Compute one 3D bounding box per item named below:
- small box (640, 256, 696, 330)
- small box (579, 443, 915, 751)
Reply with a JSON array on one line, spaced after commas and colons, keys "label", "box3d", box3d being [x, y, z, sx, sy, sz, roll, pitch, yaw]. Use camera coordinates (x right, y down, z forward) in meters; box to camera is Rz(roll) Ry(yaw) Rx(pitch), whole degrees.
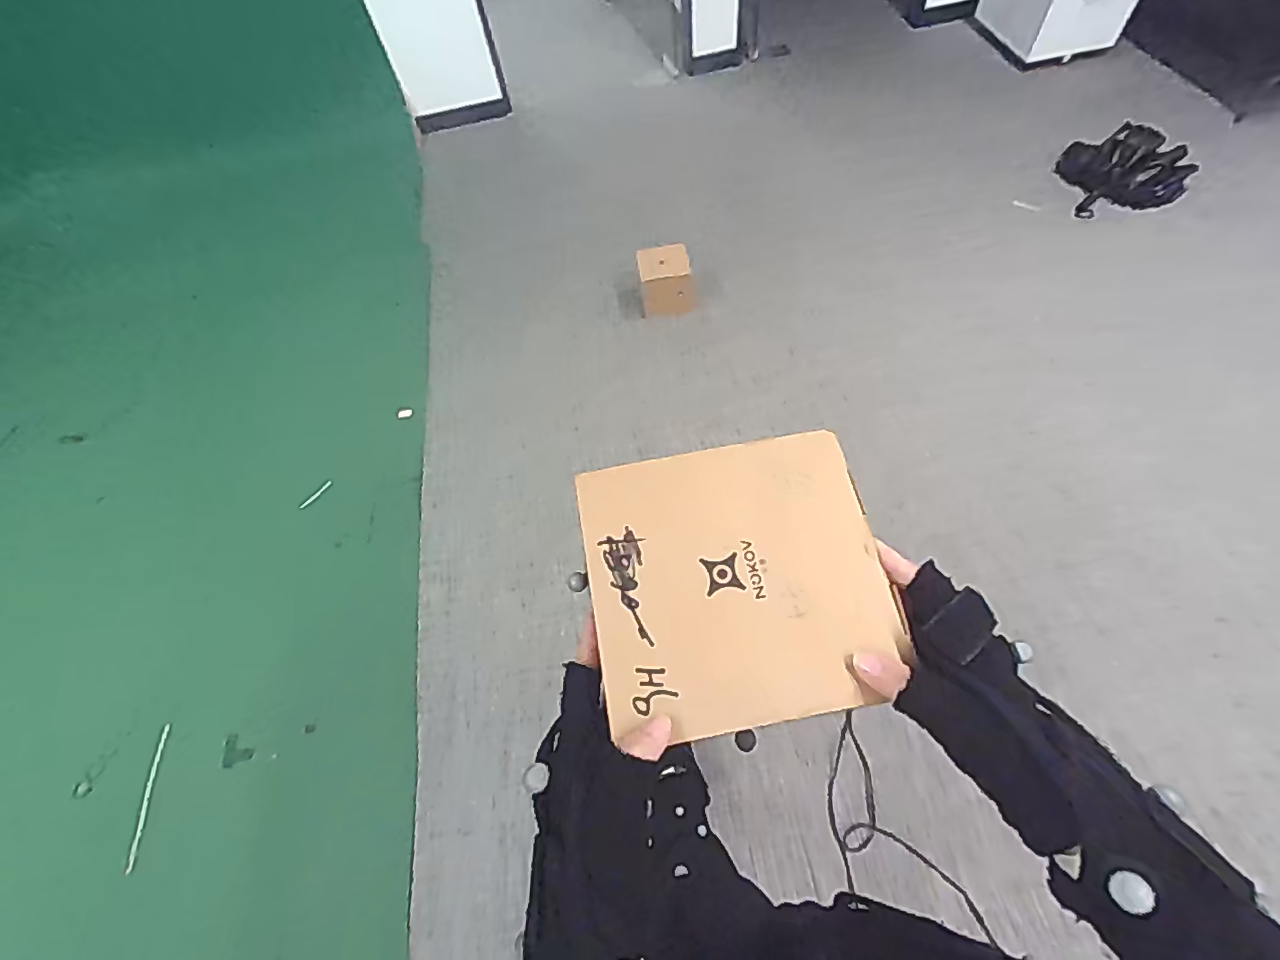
[{"label": "small box", "box3d": [0.103, -0.660, 1.922, 0.179, 0.176, 0.168, -11, 57, 3]}, {"label": "small box", "box3d": [0.057, 0.094, 0.399, 0.179, 0.176, 0.168, -9, 64, -3]}]
